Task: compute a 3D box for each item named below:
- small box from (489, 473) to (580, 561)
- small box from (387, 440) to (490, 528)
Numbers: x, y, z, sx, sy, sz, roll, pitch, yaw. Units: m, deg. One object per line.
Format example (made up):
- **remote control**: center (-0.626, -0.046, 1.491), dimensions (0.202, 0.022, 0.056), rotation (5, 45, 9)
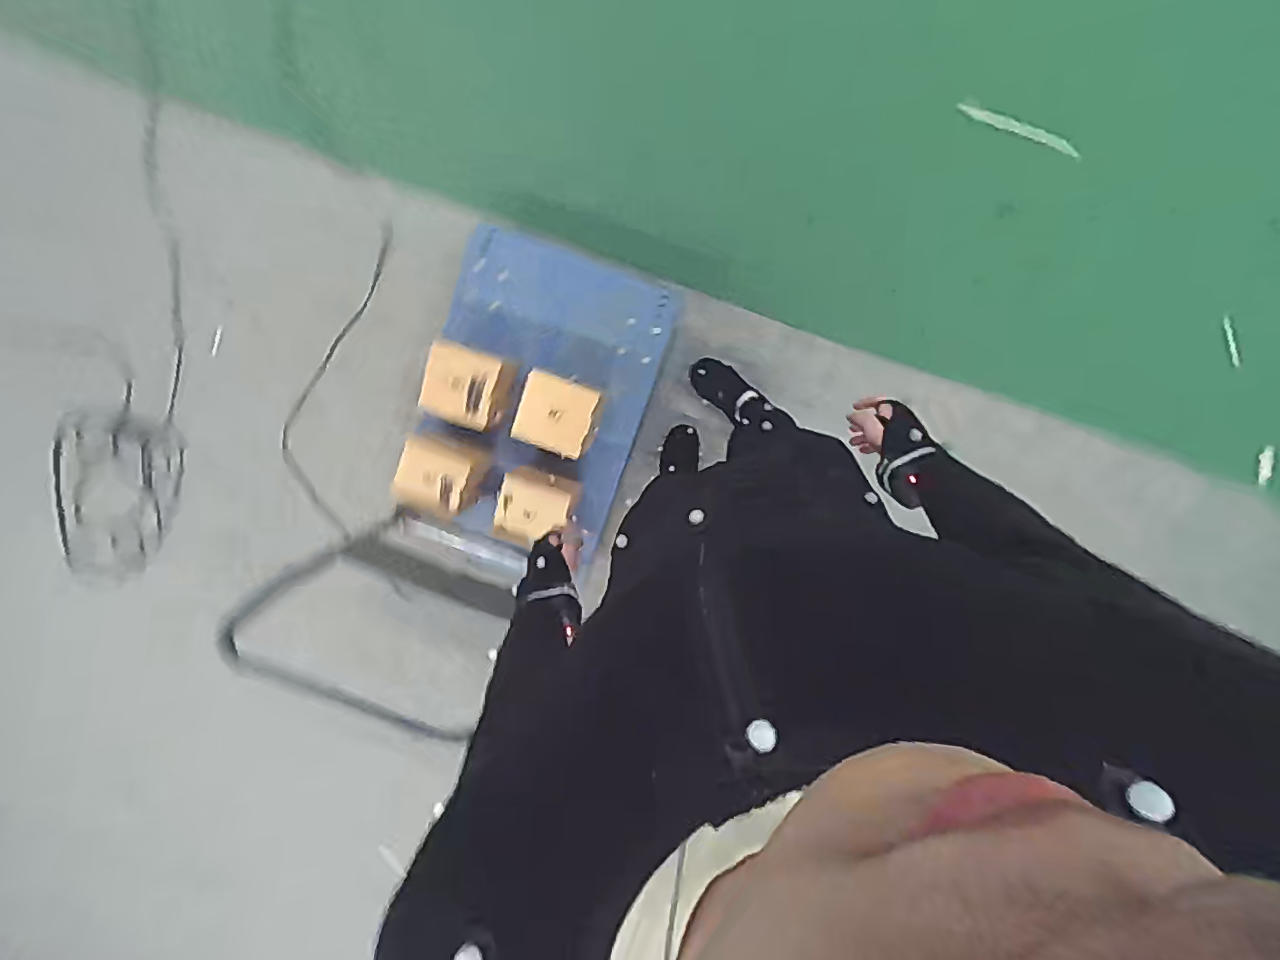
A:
- **small box**: center (-0.267, 0.089, 1.408), dimensions (0.179, 0.176, 0.168), rotation (17, 101, 0)
- **small box**: center (-0.516, 0.003, 1.410), dimensions (0.179, 0.176, 0.168), rotation (22, 100, 1)
